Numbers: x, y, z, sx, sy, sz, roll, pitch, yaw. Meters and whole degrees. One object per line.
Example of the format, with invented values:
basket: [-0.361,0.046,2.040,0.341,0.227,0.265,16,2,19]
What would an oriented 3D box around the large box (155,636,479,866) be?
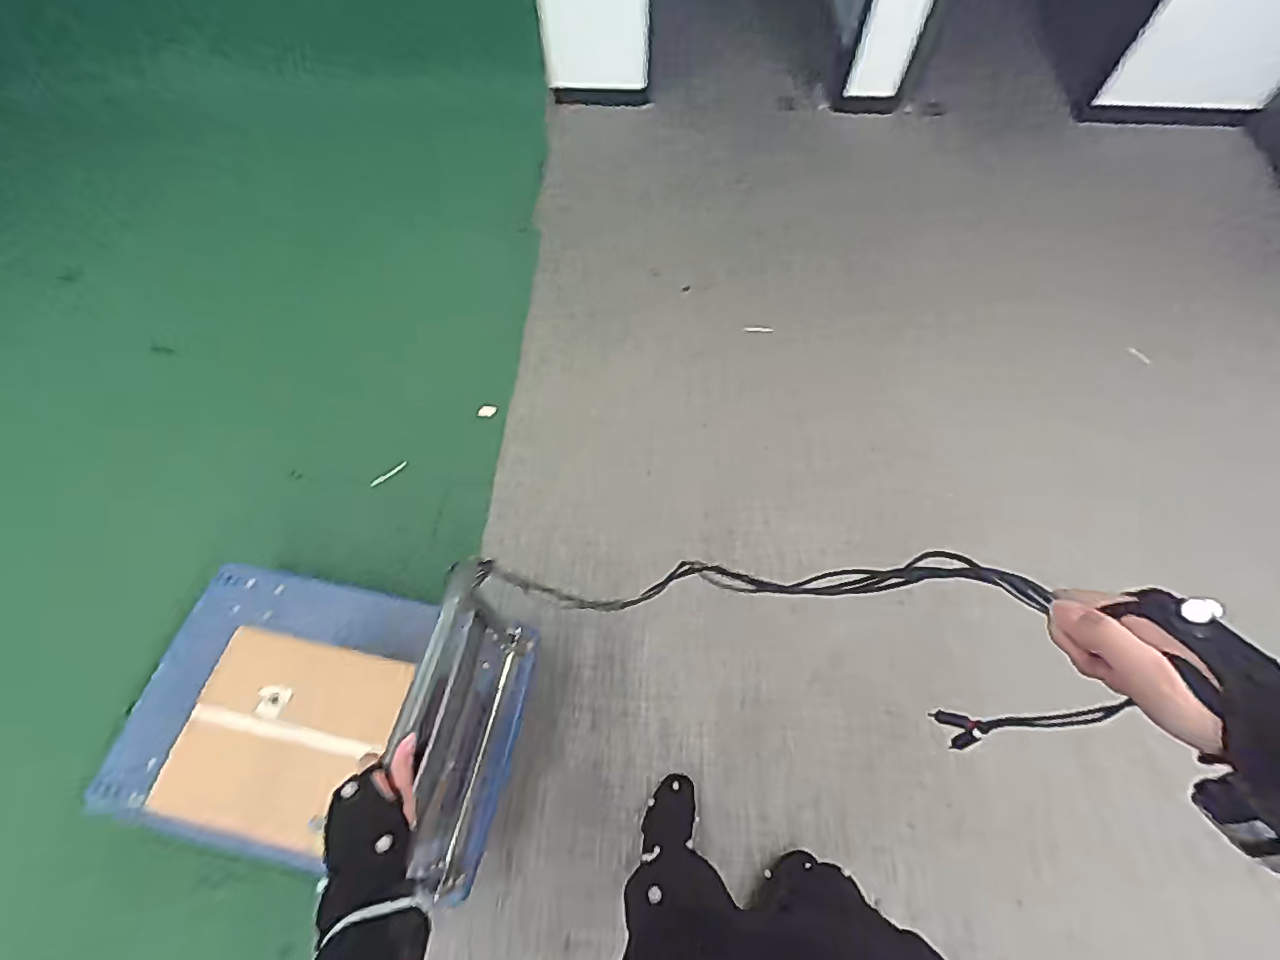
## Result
large box: [-0.598,0.534,1.095,0.408,0.320,0.320,10,62,6]
